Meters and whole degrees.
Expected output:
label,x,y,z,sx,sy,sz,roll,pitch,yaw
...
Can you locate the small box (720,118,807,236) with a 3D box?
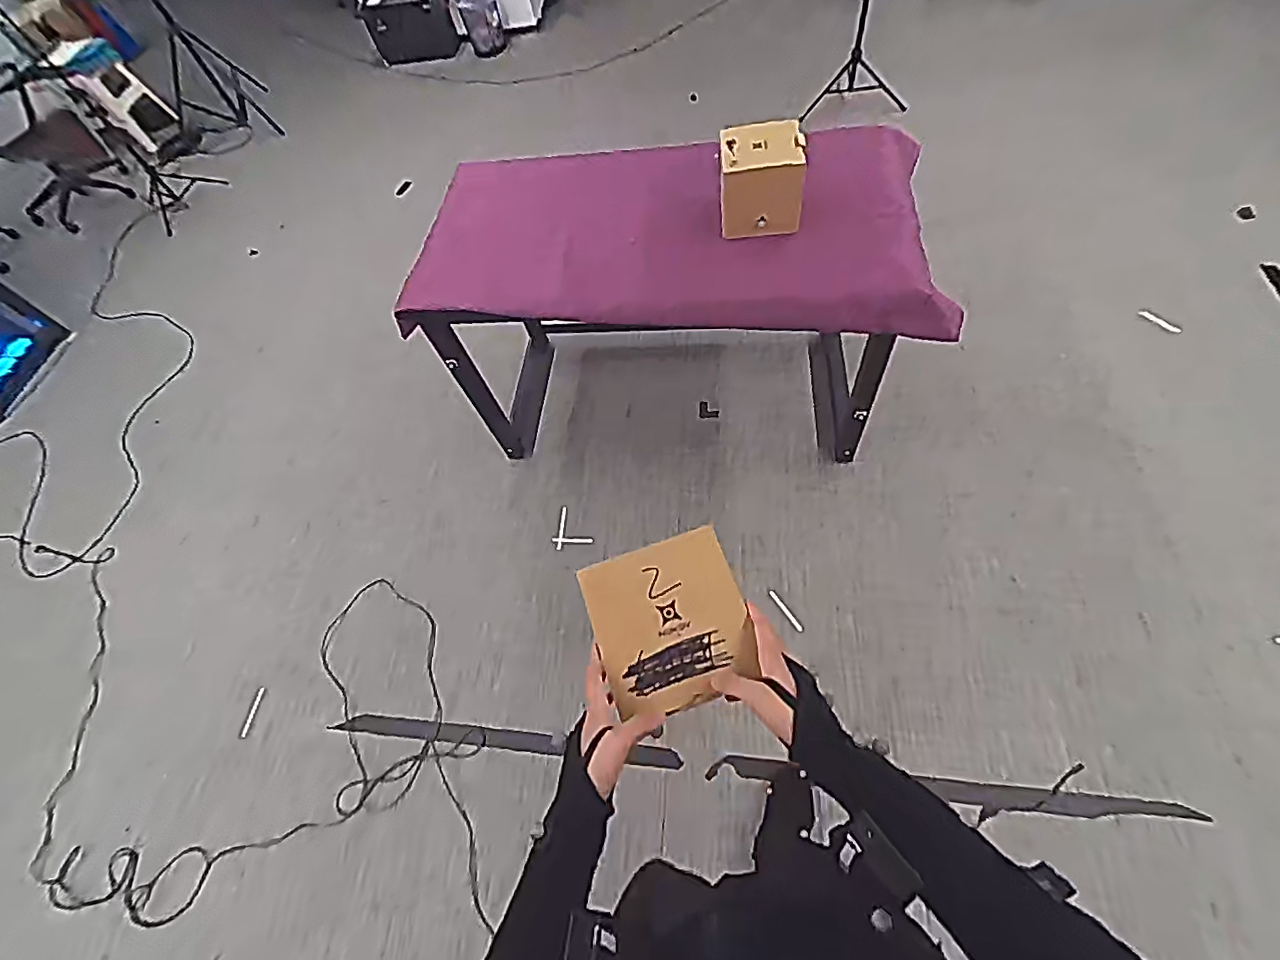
label,x,y,z,sx,sy,sz,roll,pitch,yaw
small box,0.274,-0.686,1.236,0.179,0.176,0.168,-2,60,8
